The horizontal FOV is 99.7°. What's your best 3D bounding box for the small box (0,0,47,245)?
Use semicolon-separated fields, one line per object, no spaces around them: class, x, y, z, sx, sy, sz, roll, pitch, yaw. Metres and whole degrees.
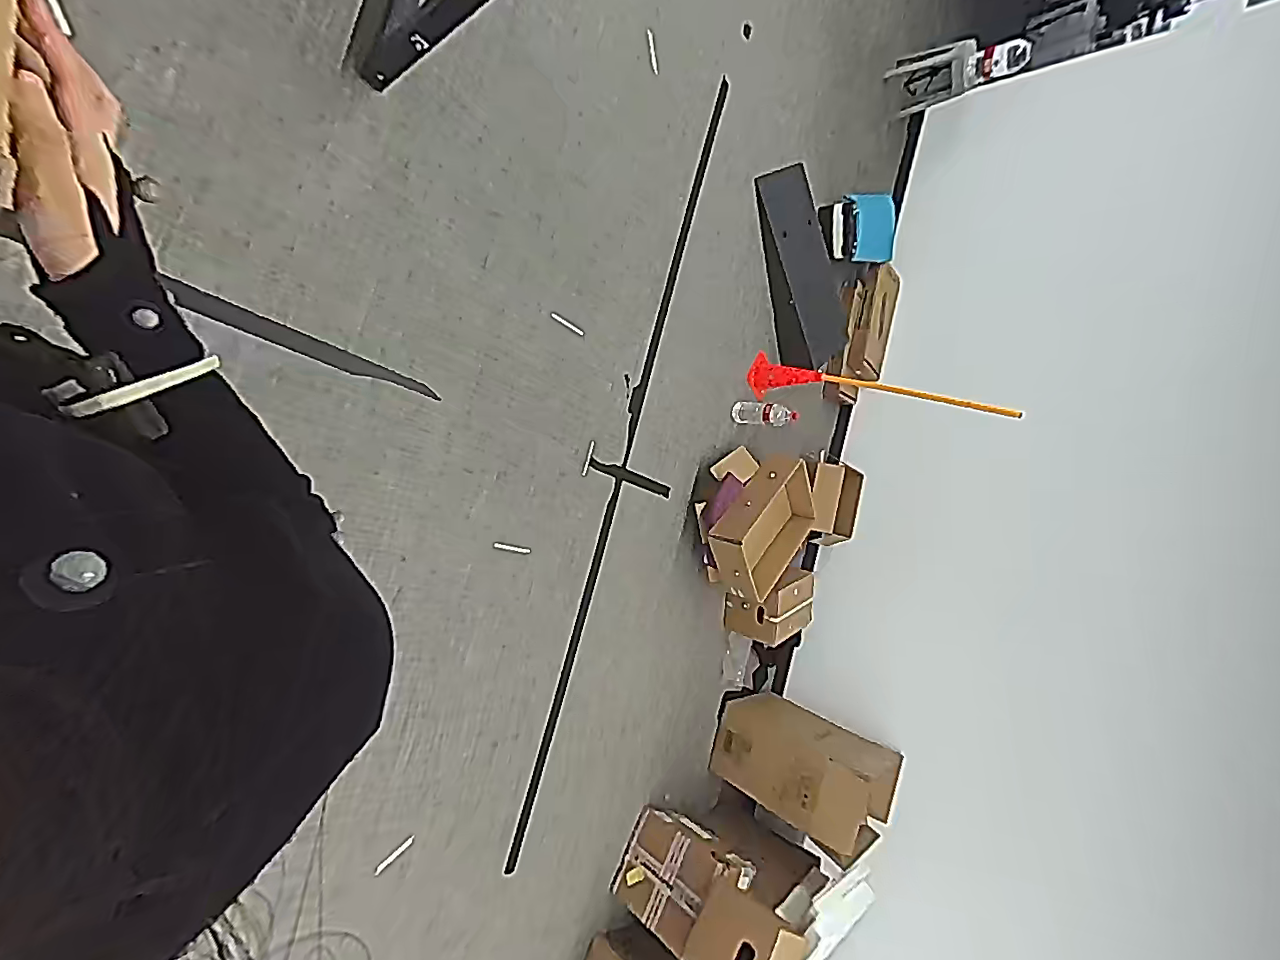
small box;-0.381;-0.227;0.228;0.168;0.176;0.179;4;87;-52
